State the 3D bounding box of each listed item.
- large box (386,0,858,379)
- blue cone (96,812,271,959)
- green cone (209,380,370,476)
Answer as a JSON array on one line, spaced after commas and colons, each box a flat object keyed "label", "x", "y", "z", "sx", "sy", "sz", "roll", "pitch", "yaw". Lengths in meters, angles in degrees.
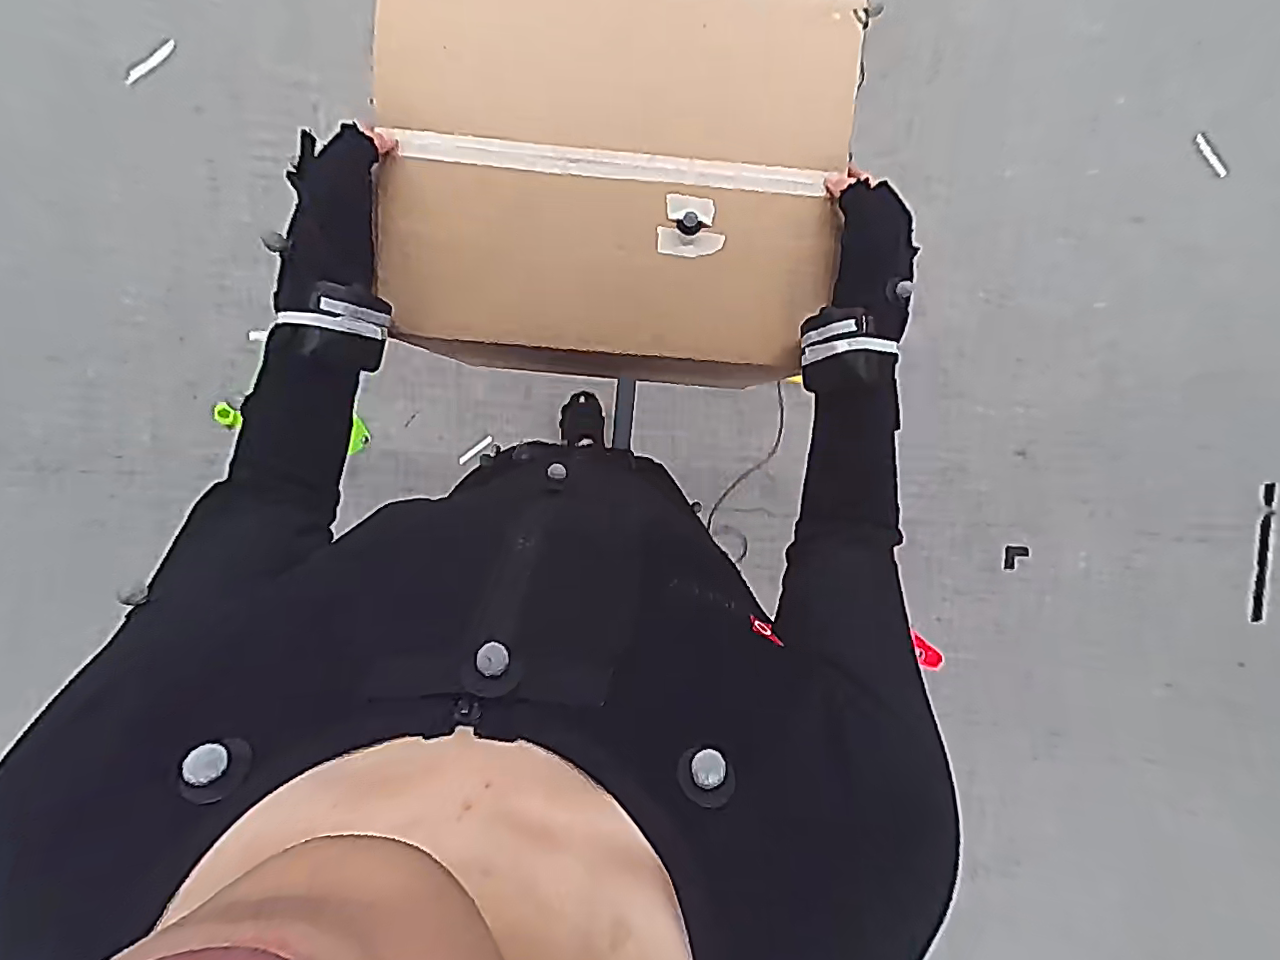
[{"label": "large box", "x": -0.027, "y": -0.294, "z": 0.618, "sx": 0.408, "sy": 0.320, "sz": 0.320, "roll": 4, "pitch": 97, "yaw": -4}, {"label": "blue cone", "x": -1.067, "y": 0.971, "z": 1.257, "sx": 0.192, "sy": 0.380, "sz": 0.193, "roll": 7, "pitch": 89, "yaw": -1}, {"label": "green cone", "x": -0.835, "y": -0.136, "z": 1.250, "sx": 0.202, "sy": 0.368, "sz": 0.200, "roll": -34, "pitch": 91, "yaw": 0}]
